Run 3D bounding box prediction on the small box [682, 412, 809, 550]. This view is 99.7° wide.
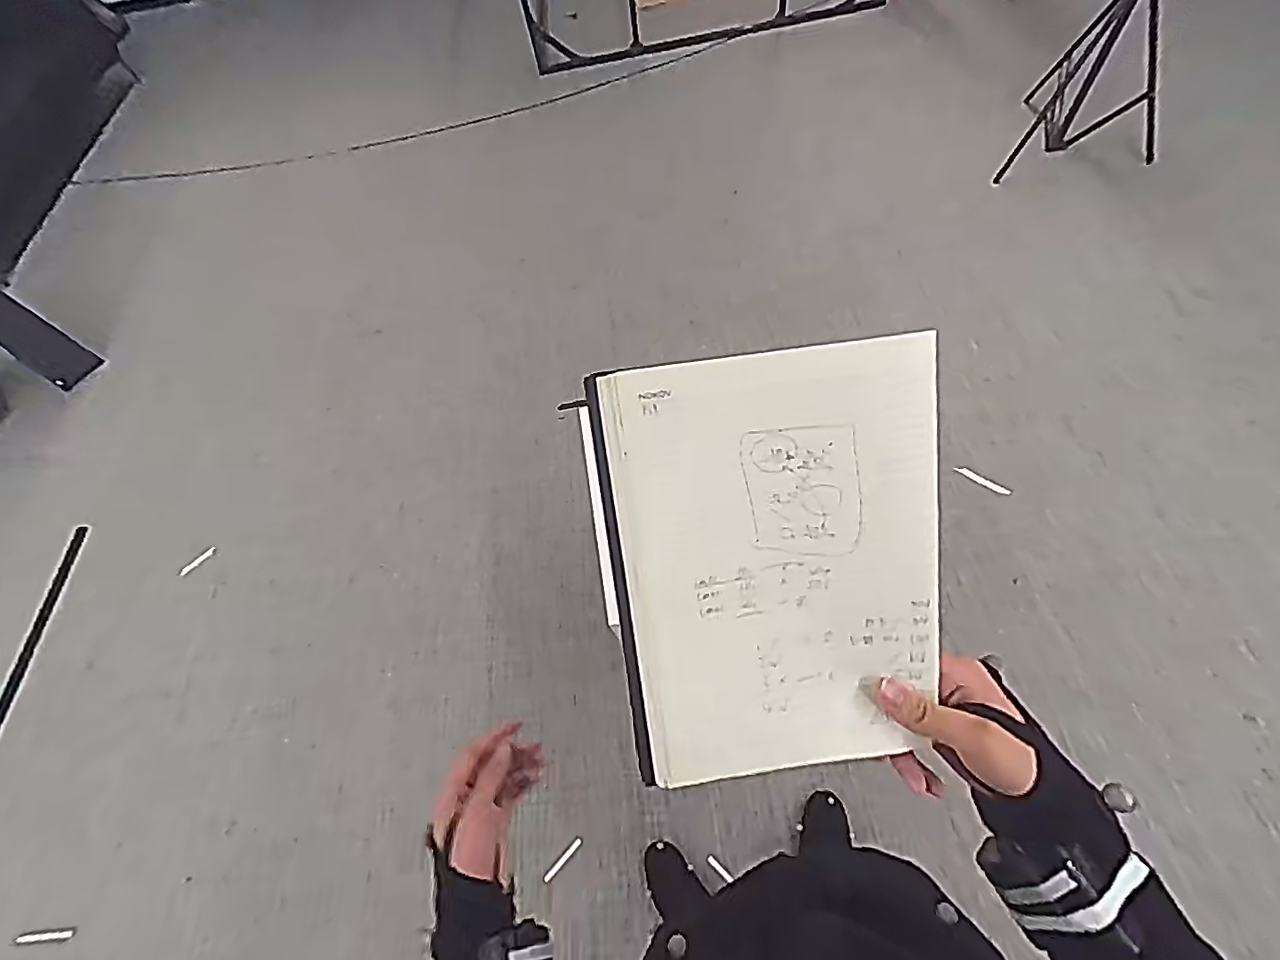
[{"bbox_3d":[0.189,0.007,1.012,0.179,0.176,0.168,-20,60,-2],"label":"small box"}]
